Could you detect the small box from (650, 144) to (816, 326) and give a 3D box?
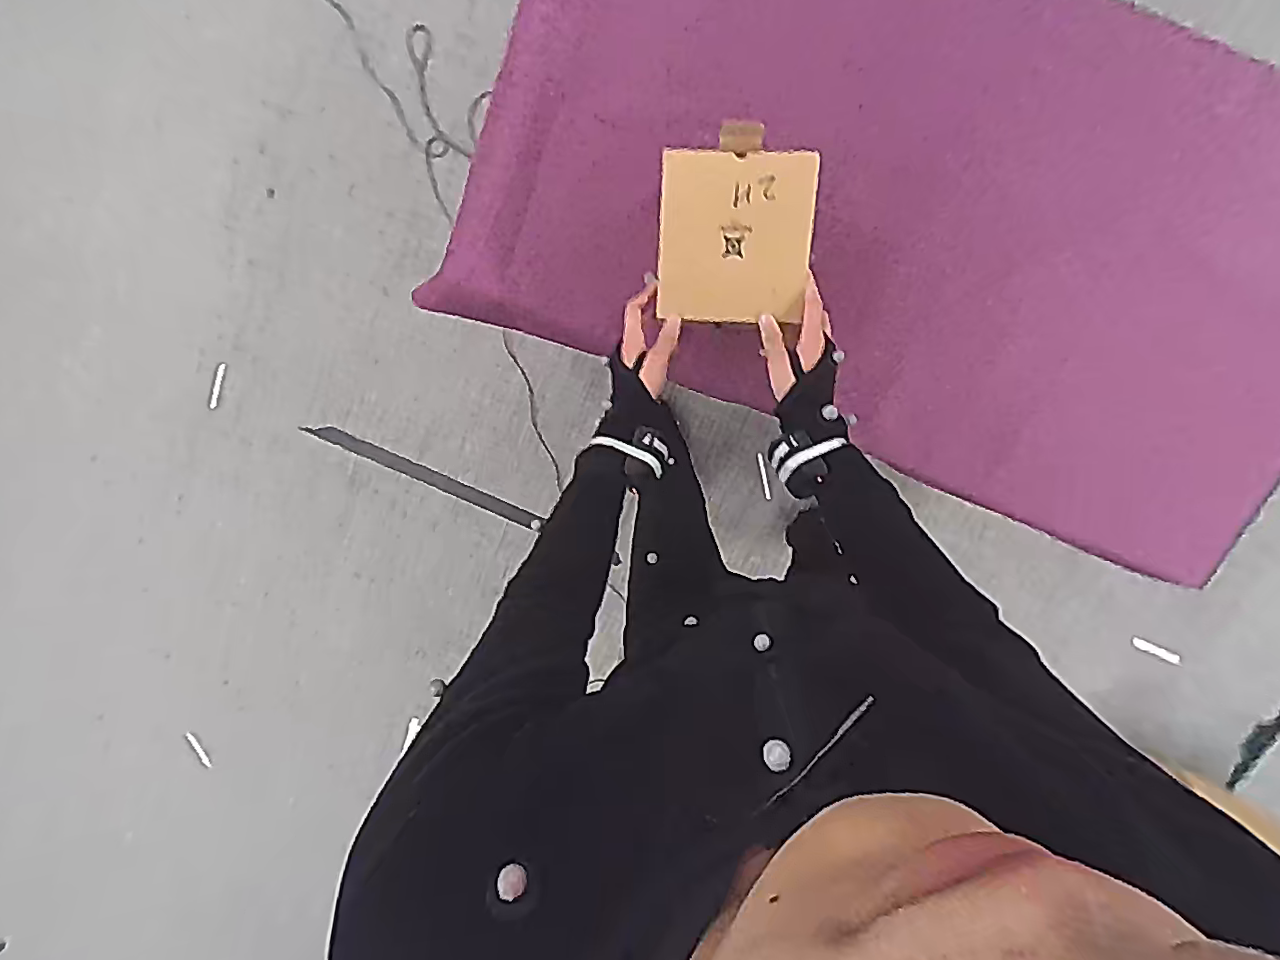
[{"bbox_3d":[0.103,-0.285,0.665,0.168,0.176,0.179,4,104,2],"label":"small box"}]
